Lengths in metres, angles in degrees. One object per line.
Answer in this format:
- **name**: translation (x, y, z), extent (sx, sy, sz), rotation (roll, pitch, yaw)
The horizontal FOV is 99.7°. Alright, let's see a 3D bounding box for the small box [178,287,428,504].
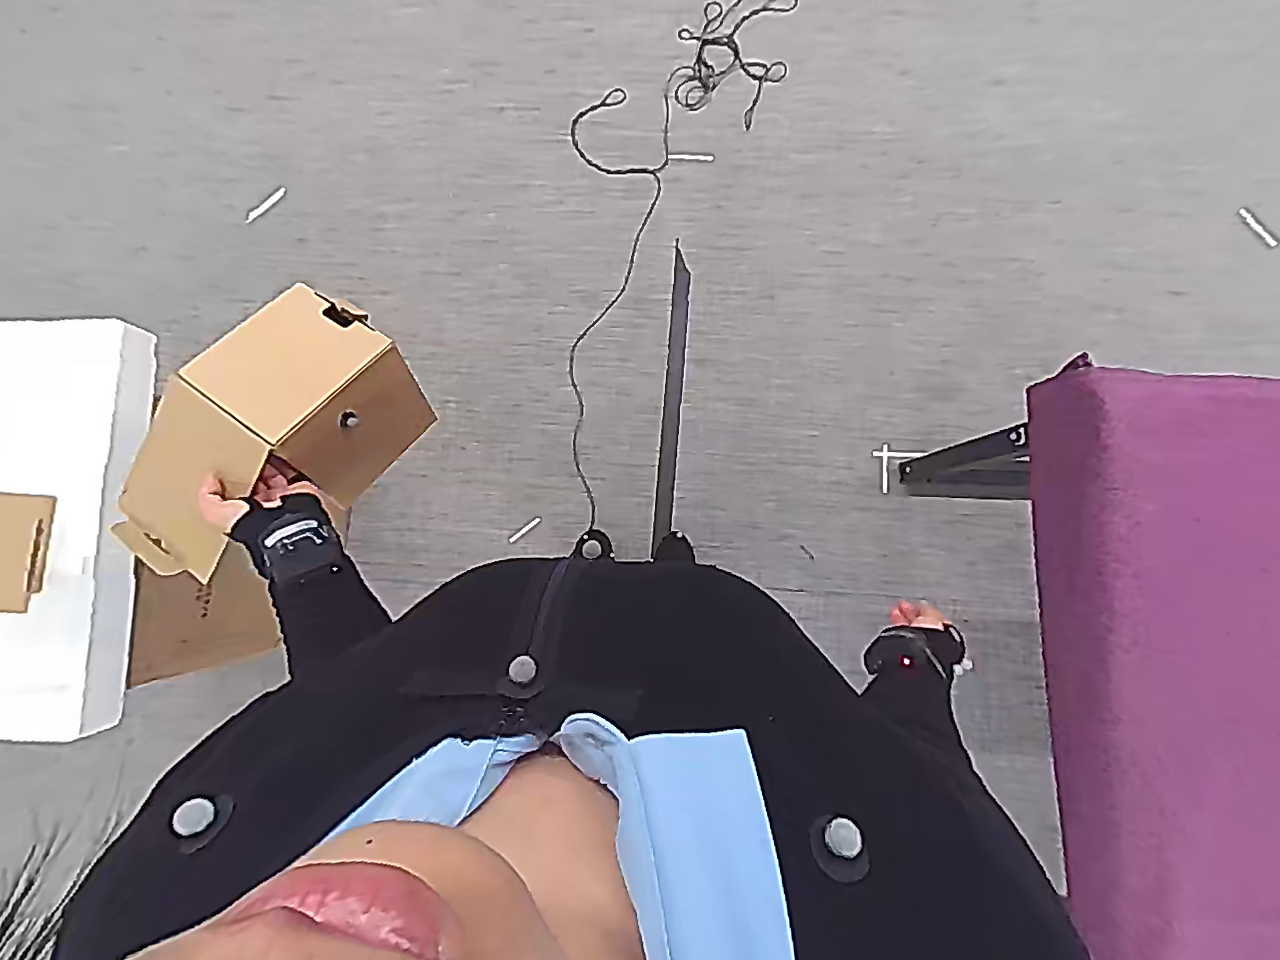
- **small box**: translation (-0.404, -0.099, 0.686), extent (0.168, 0.176, 0.179), rotation (32, 66, 13)
